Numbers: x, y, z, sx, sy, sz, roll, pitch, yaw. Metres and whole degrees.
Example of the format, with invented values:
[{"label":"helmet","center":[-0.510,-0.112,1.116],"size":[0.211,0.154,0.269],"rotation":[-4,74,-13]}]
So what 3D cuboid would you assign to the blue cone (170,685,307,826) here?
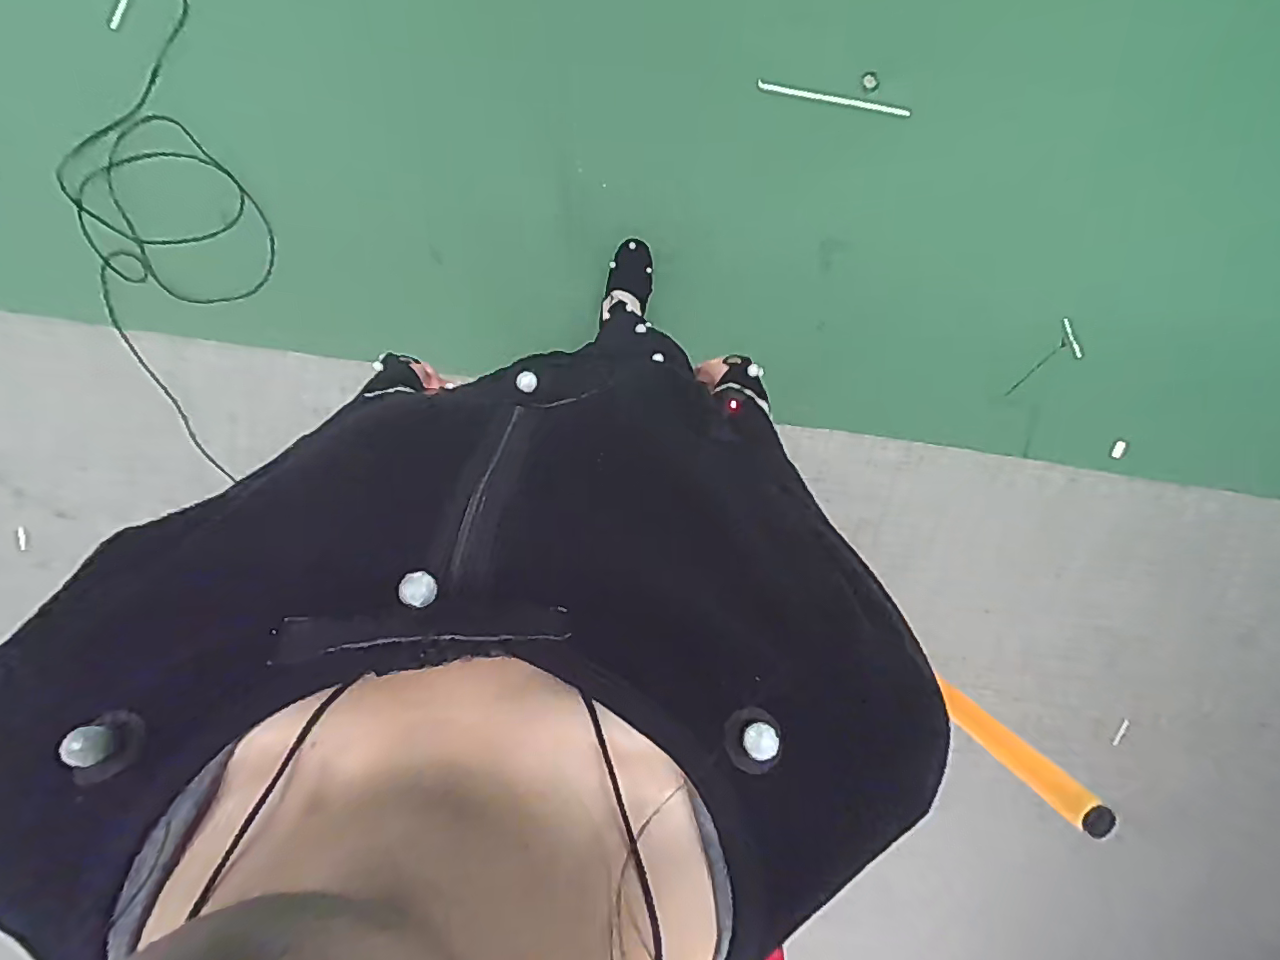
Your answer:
[{"label":"blue cone","center":[-1.144,0.789,1.515],"size":[0.193,0.380,0.192],"rotation":[-34,106,10]}]
